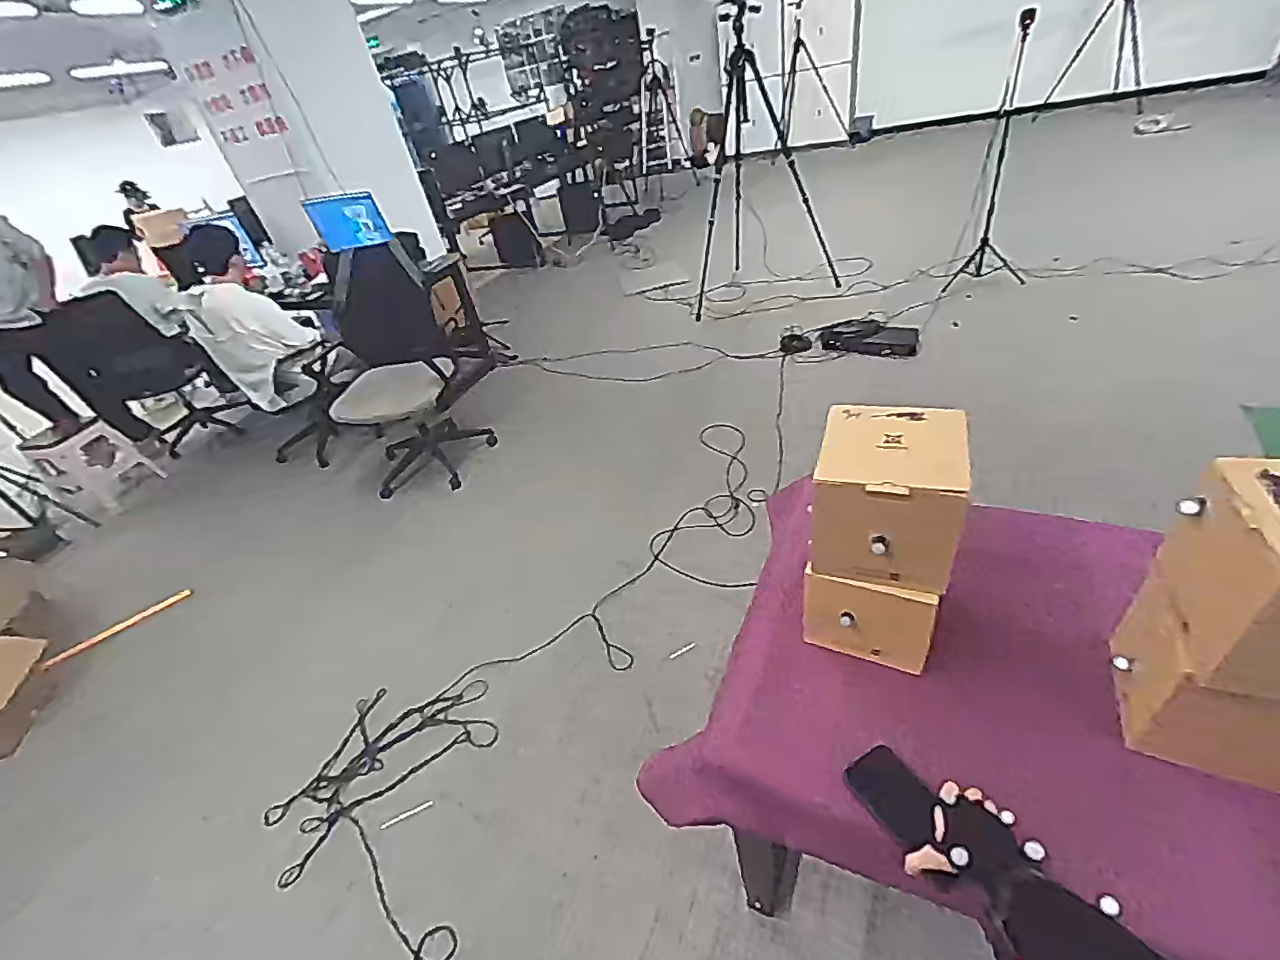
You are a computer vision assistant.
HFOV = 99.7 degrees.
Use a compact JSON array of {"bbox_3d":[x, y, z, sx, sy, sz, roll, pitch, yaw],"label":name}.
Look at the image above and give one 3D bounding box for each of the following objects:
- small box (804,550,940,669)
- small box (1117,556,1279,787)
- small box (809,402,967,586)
[{"bbox_3d":[0.352,0.149,0.805,0.168,0.176,0.179,10,43,28],"label":"small box"},{"bbox_3d":[0.682,0.217,0.607,0.179,0.176,0.168,9,42,28],"label":"small box"},{"bbox_3d":[0.324,0.015,0.713,0.168,0.176,0.179,7,42,24],"label":"small box"}]
